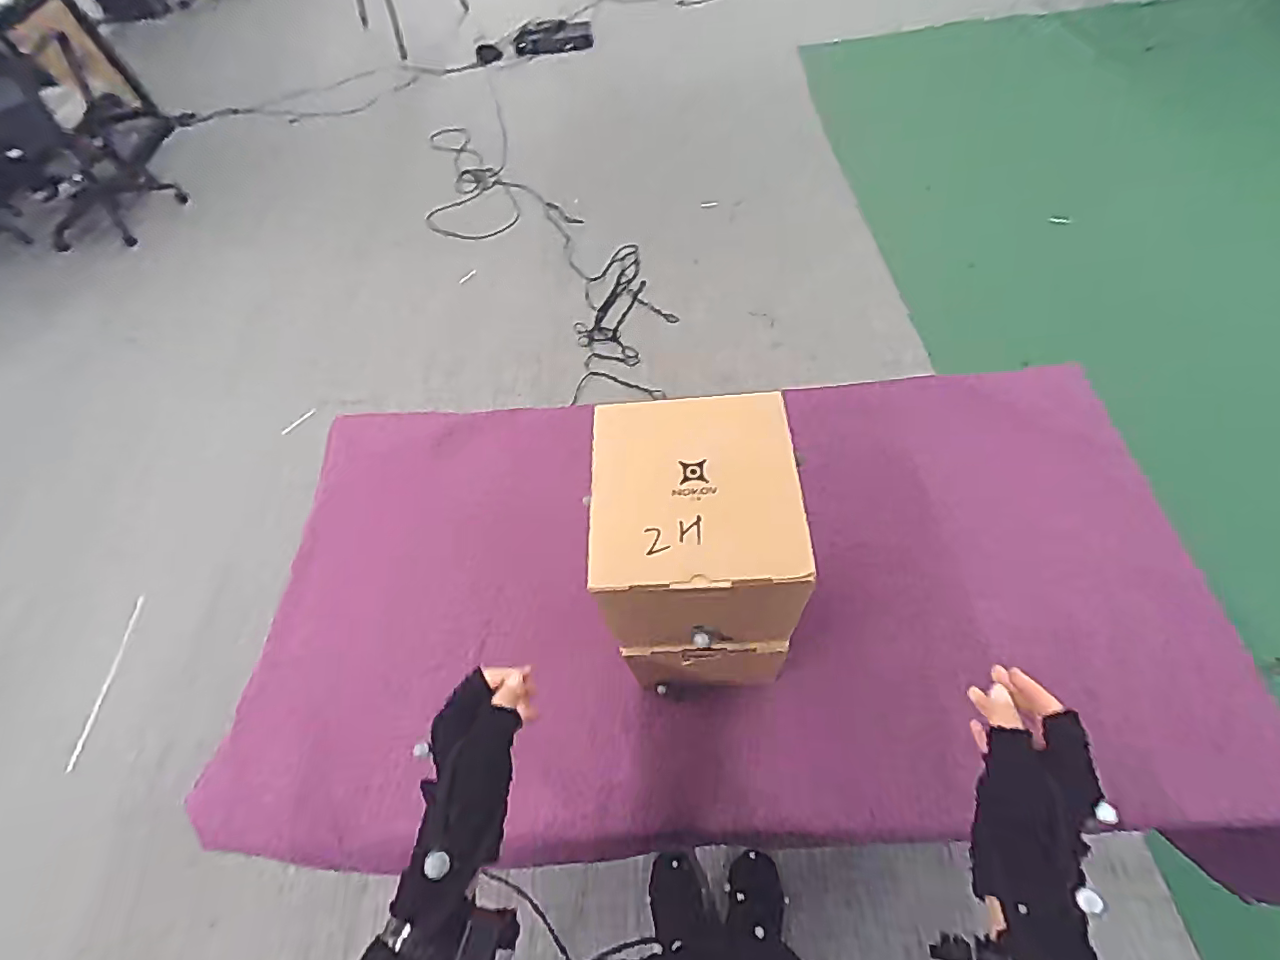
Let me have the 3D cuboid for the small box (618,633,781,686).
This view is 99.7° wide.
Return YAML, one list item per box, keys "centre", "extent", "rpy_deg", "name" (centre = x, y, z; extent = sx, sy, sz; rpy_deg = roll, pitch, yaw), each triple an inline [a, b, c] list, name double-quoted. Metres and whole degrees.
- centre: [0.068, 0.142, 0.643]
  extent: [0.168, 0.176, 0.179]
  rpy_deg: [-4, 57, 5]
  name: "small box"

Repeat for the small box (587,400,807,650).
- centre: [0.049, 0.048, 0.509]
  extent: [0.168, 0.176, 0.179]
  rpy_deg: [-4, 58, 5]
  name: "small box"
